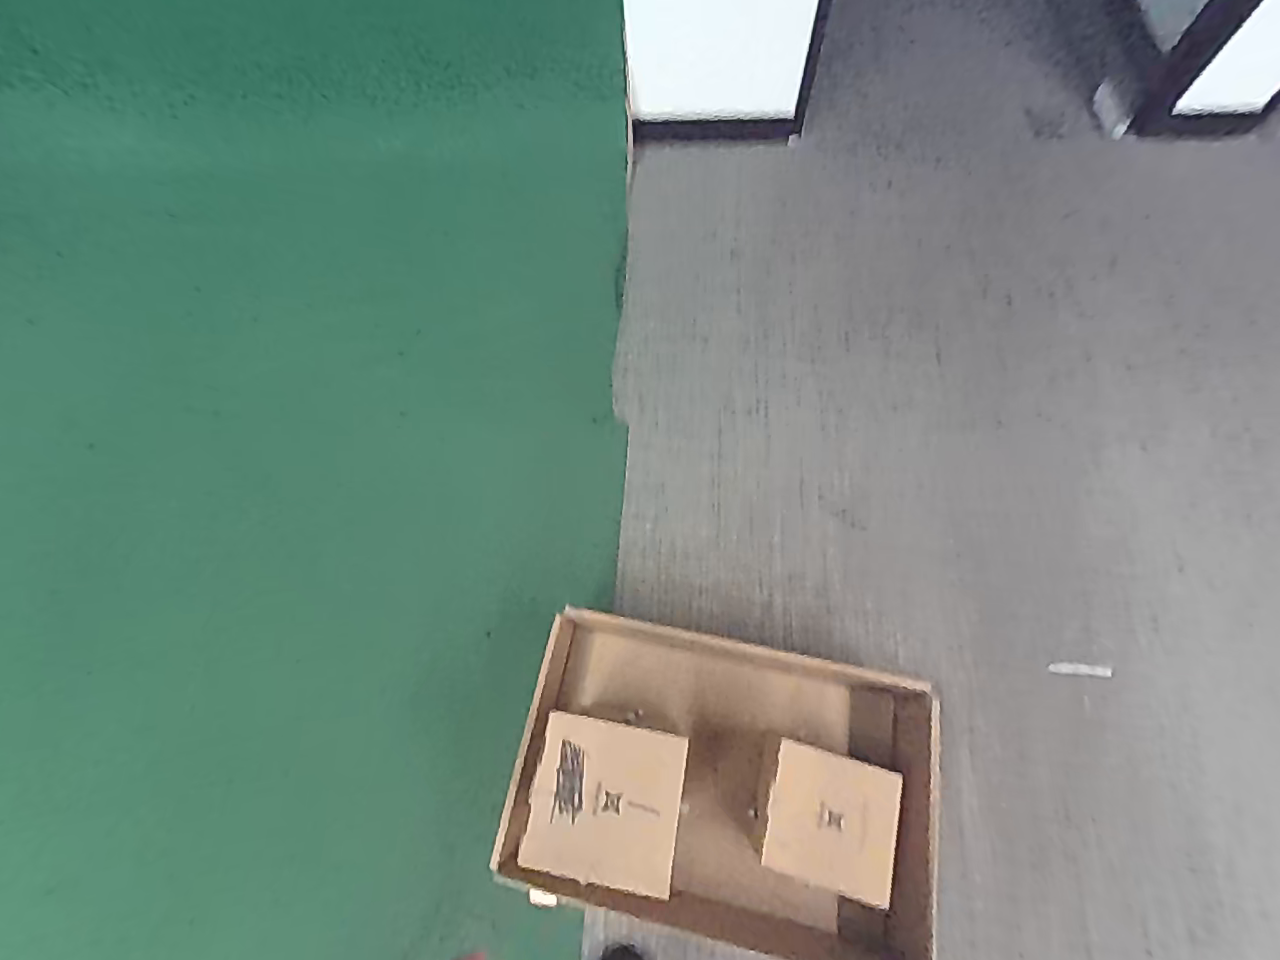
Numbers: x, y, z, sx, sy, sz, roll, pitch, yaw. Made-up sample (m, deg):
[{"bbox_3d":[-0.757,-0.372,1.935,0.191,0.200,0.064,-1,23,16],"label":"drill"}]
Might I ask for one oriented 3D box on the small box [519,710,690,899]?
[{"bbox_3d":[-0.036,0.408,0.709,0.179,0.176,0.168,10,68,5],"label":"small box"}]
